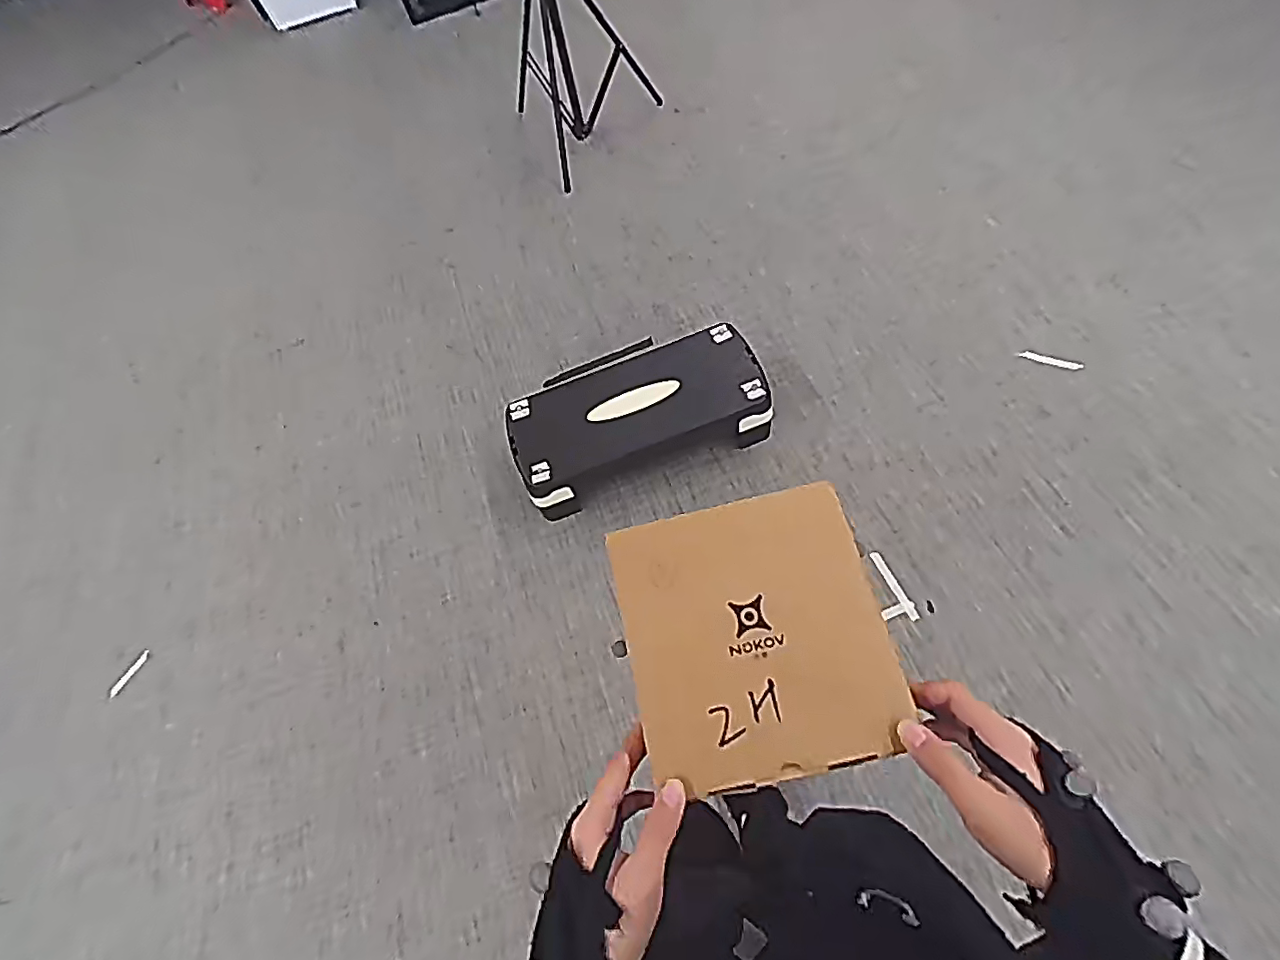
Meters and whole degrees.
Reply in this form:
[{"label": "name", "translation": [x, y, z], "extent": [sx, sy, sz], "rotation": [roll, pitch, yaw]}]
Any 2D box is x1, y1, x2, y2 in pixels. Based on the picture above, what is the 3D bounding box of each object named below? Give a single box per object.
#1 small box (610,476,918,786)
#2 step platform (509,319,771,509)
[{"label": "small box", "translation": [0.080, 0.121, 0.429], "extent": [0.168, 0.176, 0.179], "rotation": [-13, 67, 3]}, {"label": "step platform", "translation": [-0.002, -0.179, 1.462], "extent": [0.684, 0.204, 0.286], "rotation": [-22, 63, -1]}]
